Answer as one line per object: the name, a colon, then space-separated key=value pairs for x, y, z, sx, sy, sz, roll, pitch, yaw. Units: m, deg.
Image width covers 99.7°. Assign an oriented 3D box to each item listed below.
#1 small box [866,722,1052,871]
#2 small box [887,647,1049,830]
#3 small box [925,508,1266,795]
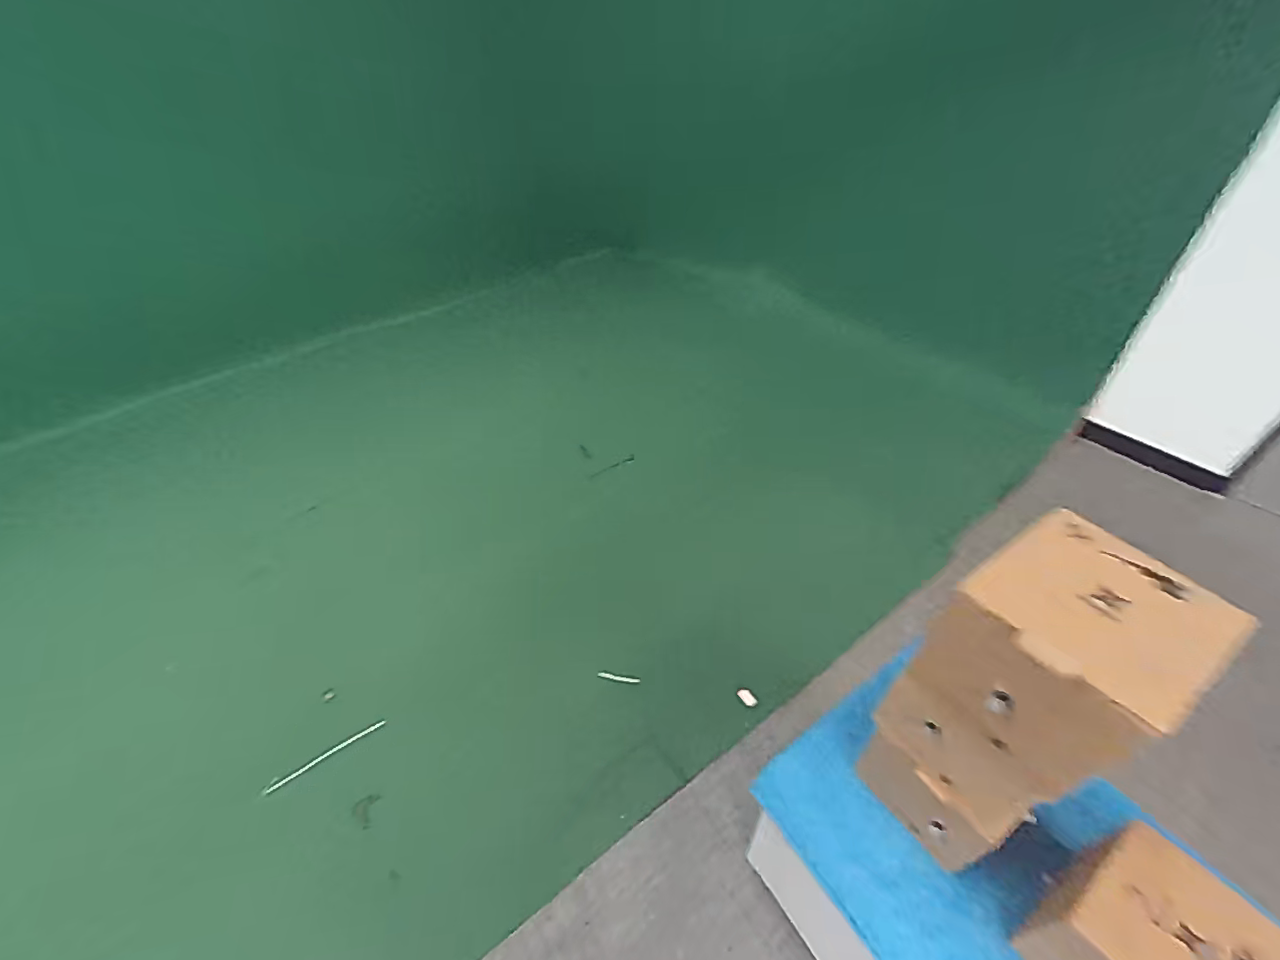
small box: x=0.441 y=0.398 z=0.751 sx=0.179 sy=0.176 sz=0.168 roll=-26 pitch=49 yaw=-21
small box: x=0.425 y=0.275 z=0.647 sx=0.179 sy=0.176 sz=0.168 roll=-24 pitch=48 yaw=-21
small box: x=0.411 y=0.165 z=0.525 sx=0.179 sy=0.176 sz=0.168 roll=-25 pitch=48 yaw=-21
